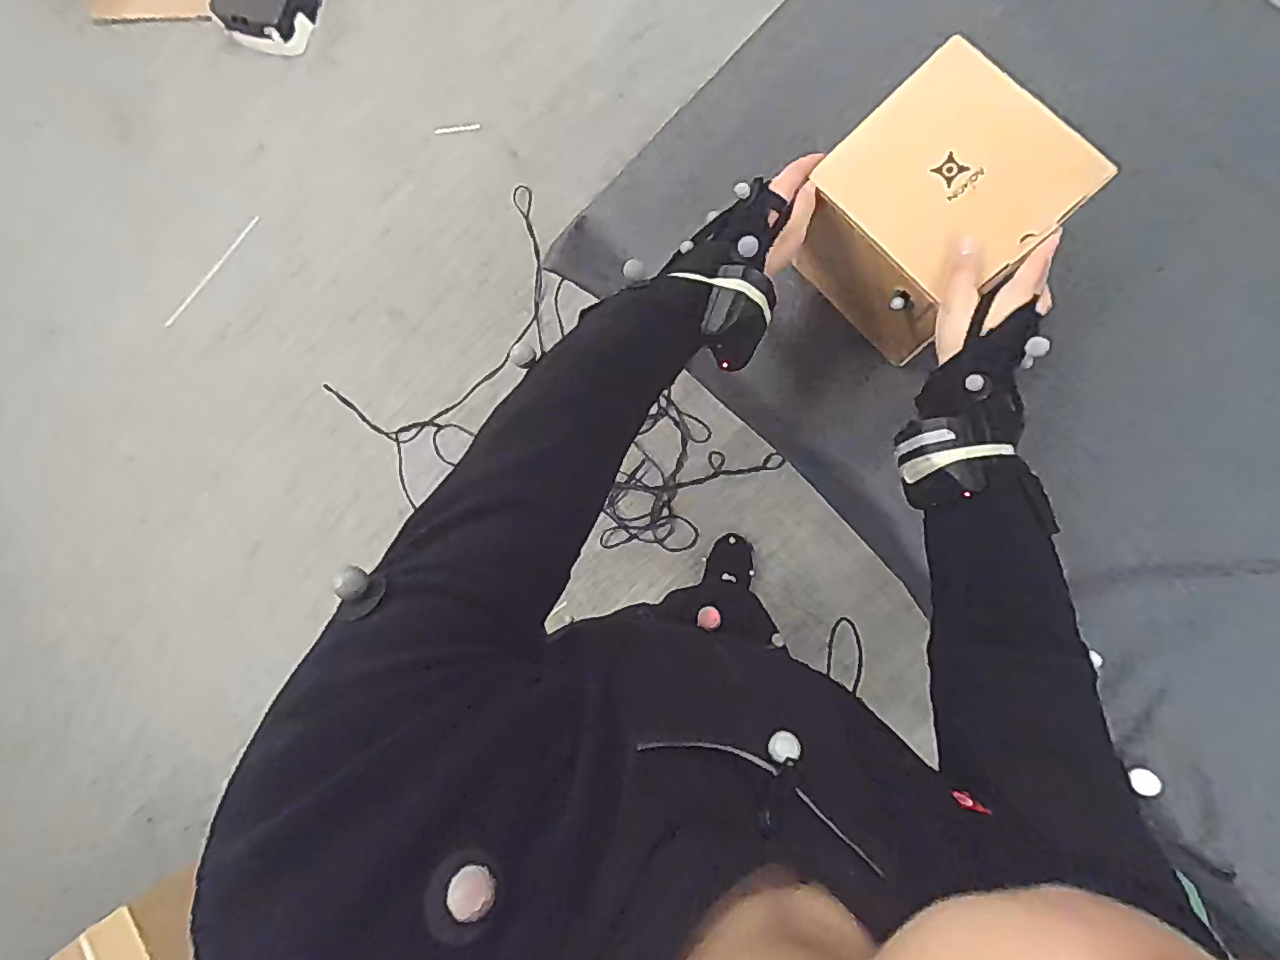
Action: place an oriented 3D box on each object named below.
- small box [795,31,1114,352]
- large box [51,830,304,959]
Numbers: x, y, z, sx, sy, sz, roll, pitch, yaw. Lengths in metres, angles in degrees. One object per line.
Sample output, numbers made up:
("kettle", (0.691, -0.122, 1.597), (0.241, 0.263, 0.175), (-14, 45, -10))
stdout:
("small box", (0.270, -0.253, 0.520), (0.168, 0.176, 0.179), (-42, 81, 7))
("large box", (-1.202, 1.262, 1.433), (0.320, 0.320, 0.408), (-36, 79, 7))
